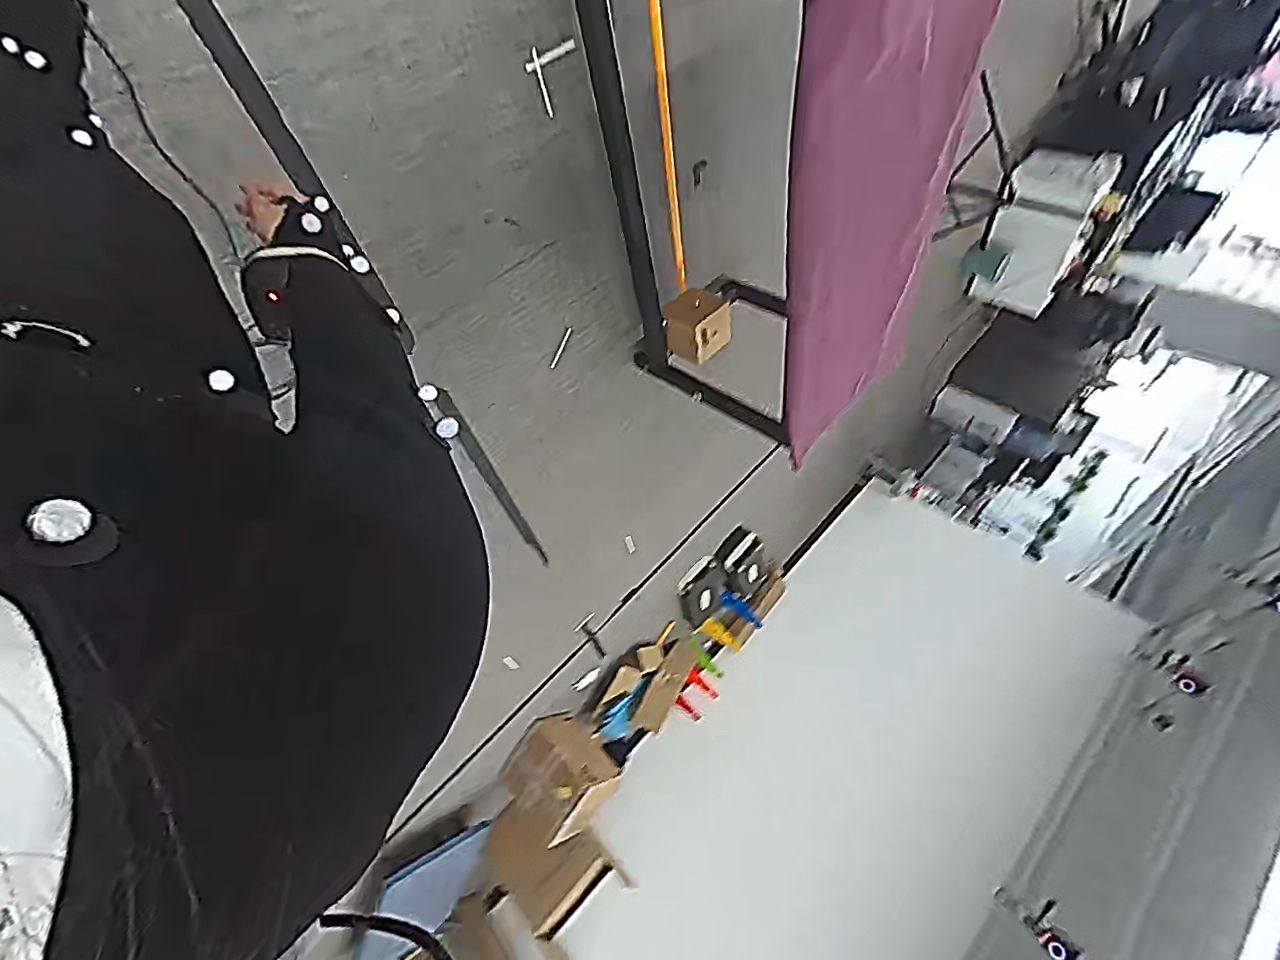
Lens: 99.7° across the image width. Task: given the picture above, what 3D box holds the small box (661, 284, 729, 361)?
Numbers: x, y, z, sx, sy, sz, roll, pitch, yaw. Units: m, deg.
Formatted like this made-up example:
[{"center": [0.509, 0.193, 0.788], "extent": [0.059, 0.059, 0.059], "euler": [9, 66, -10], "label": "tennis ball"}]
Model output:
[{"center": [0.187, -0.548, 1.871], "extent": [0.179, 0.176, 0.168], "euler": [-43, 146, -20], "label": "small box"}]
